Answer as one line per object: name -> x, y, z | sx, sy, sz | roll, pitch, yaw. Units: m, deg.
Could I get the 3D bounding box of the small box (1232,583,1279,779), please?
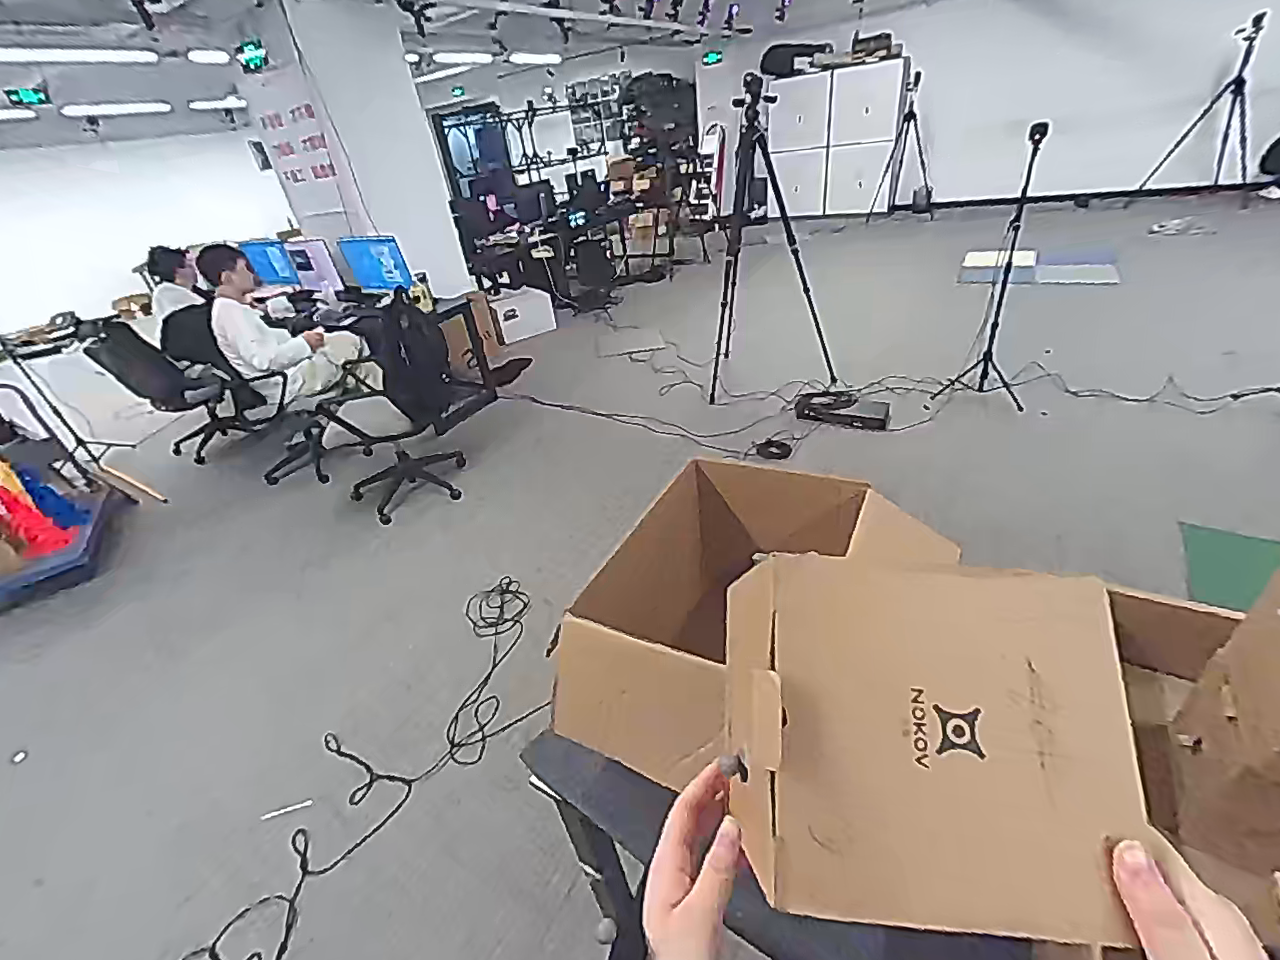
small box -> 0.698, 0.189, 0.493 | 0.168, 0.176, 0.179 | 13, 41, 32

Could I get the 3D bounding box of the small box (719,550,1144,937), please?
small box -> 0.147, 0.144, 0.344 | 0.179, 0.176, 0.168 | 3, 74, 1
